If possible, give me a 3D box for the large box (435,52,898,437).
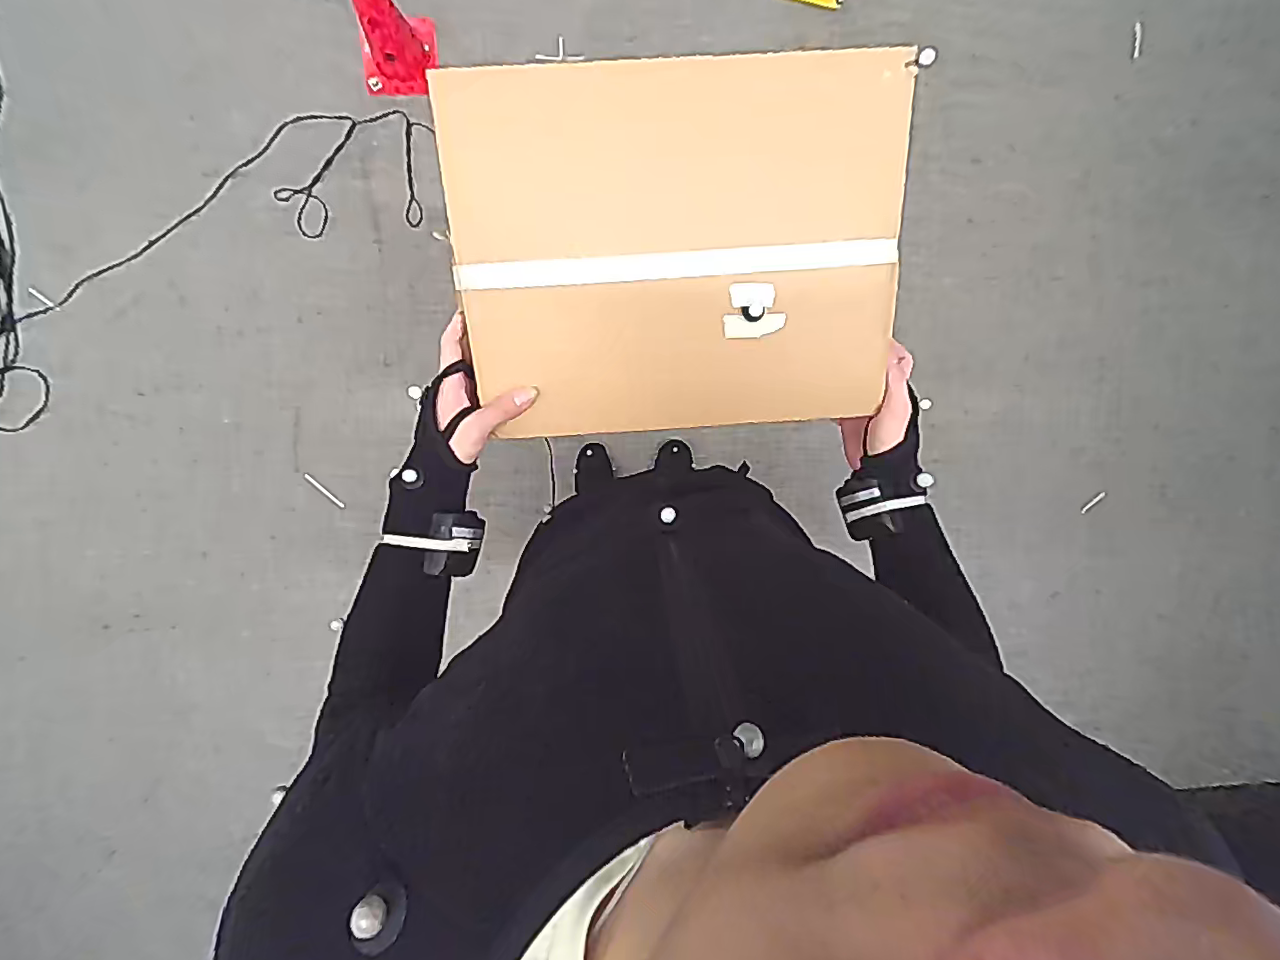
[{"bbox_3d":[0.025,-0.252,0.645,0.408,0.320,0.320,-4,110,-2],"label":"large box"}]
